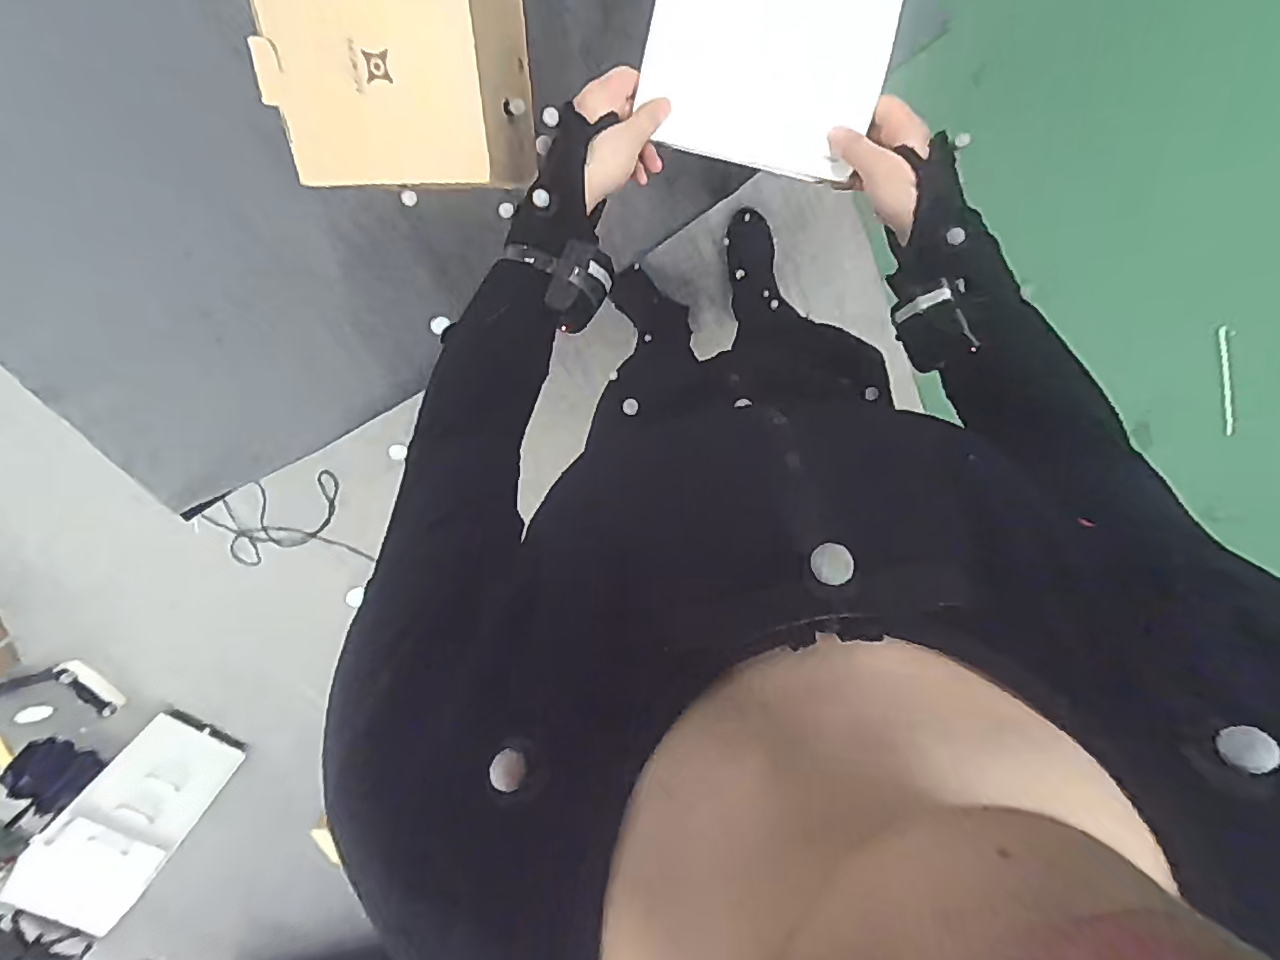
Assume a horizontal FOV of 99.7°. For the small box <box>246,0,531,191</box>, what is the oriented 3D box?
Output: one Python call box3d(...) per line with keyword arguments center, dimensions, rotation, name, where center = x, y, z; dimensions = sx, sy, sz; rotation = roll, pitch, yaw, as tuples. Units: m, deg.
box3d(center=(-0.206, -0.362, 0.495), dimensions=(0.179, 0.176, 0.168), rotation=(2, 119, 6), name="small box")
